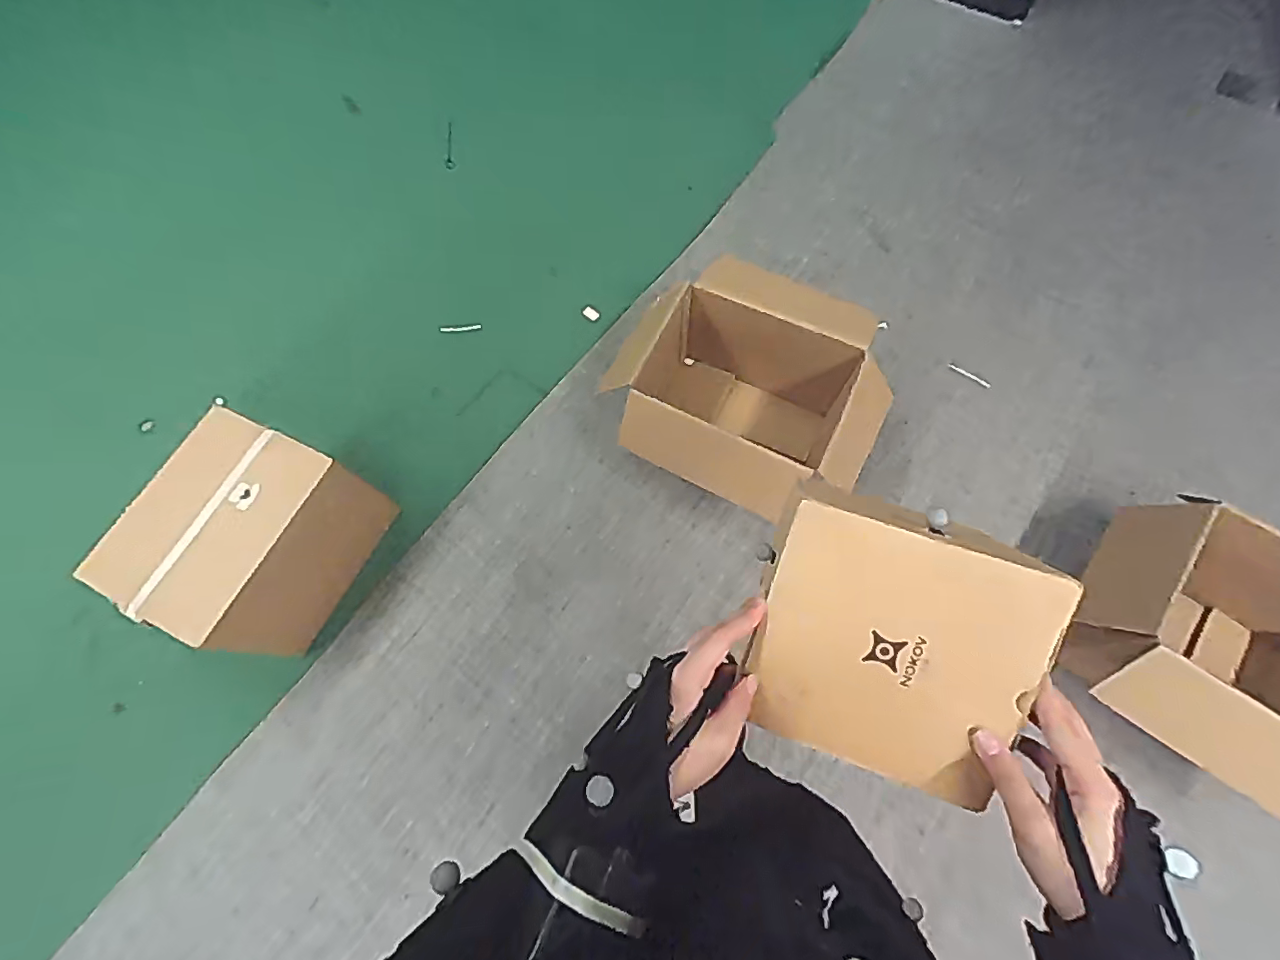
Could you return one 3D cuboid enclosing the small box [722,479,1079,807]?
[{"bbox_3d":[0.178,0.101,0.428,0.179,0.176,0.168,18,99,11],"label":"small box"}]
